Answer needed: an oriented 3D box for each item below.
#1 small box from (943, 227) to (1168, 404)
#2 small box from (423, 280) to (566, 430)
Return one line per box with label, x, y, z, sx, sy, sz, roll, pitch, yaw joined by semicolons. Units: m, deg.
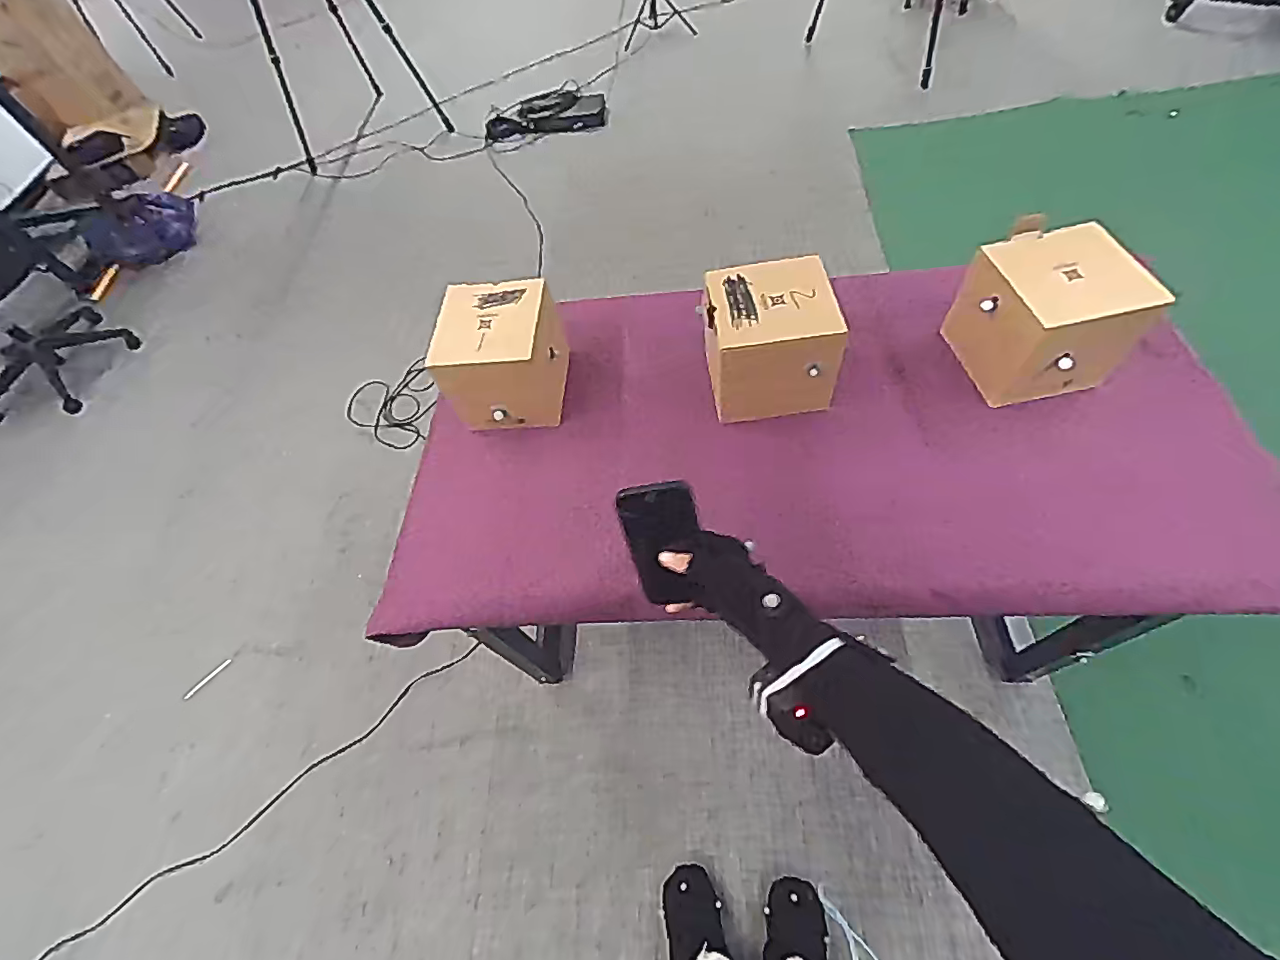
small box;0.583;-0.229;0.791;0.168;0.176;0.179;-12;57;2
small box;-0.225;-0.201;0.892;0.168;0.176;0.179;-2;60;8
